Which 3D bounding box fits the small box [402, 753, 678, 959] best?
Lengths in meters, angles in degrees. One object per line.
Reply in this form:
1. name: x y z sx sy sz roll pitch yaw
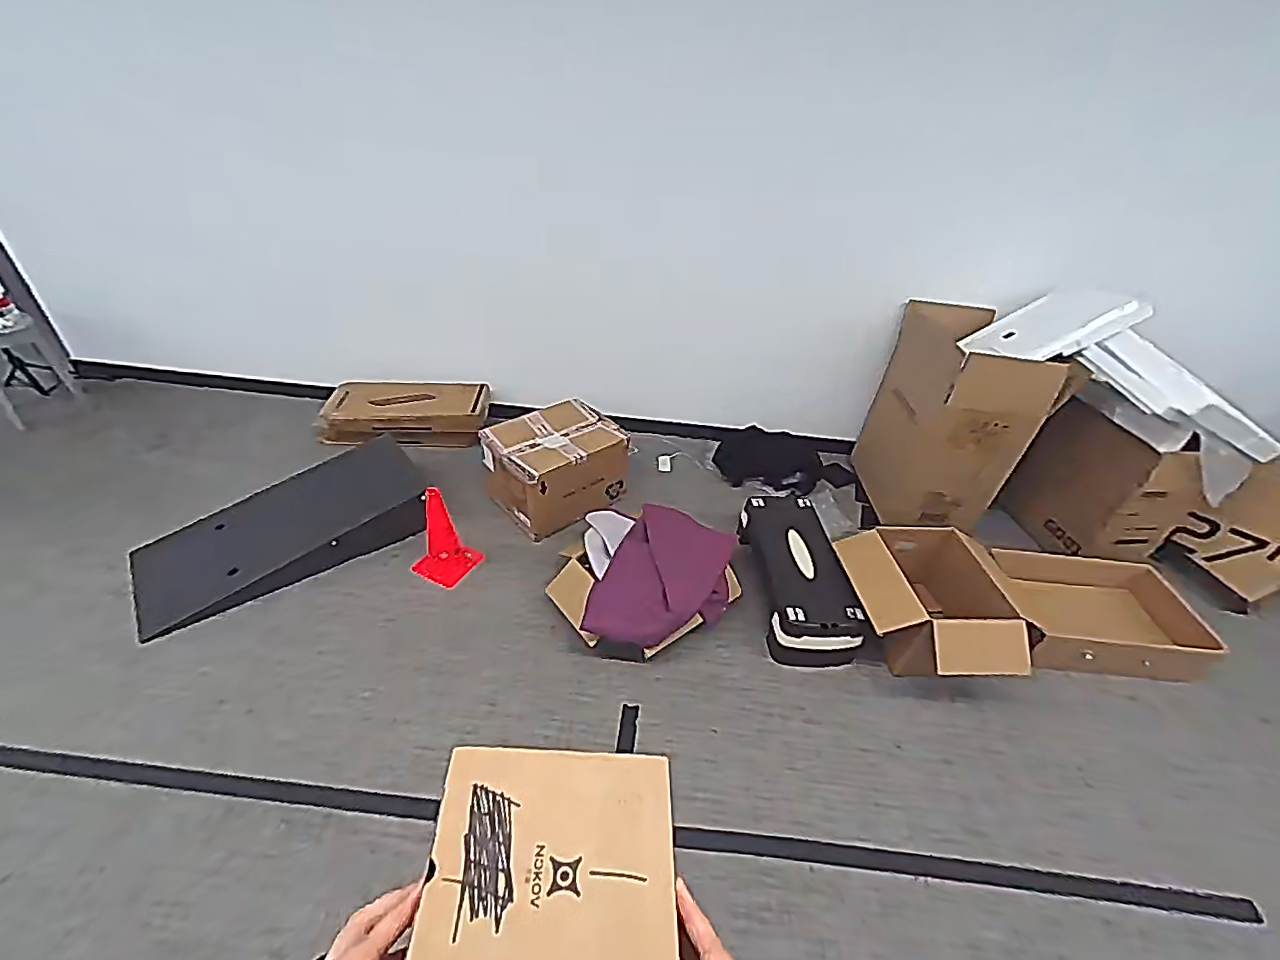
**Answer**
1. small box: -0.071 0.335 0.423 0.179 0.176 0.168 5 42 -6
